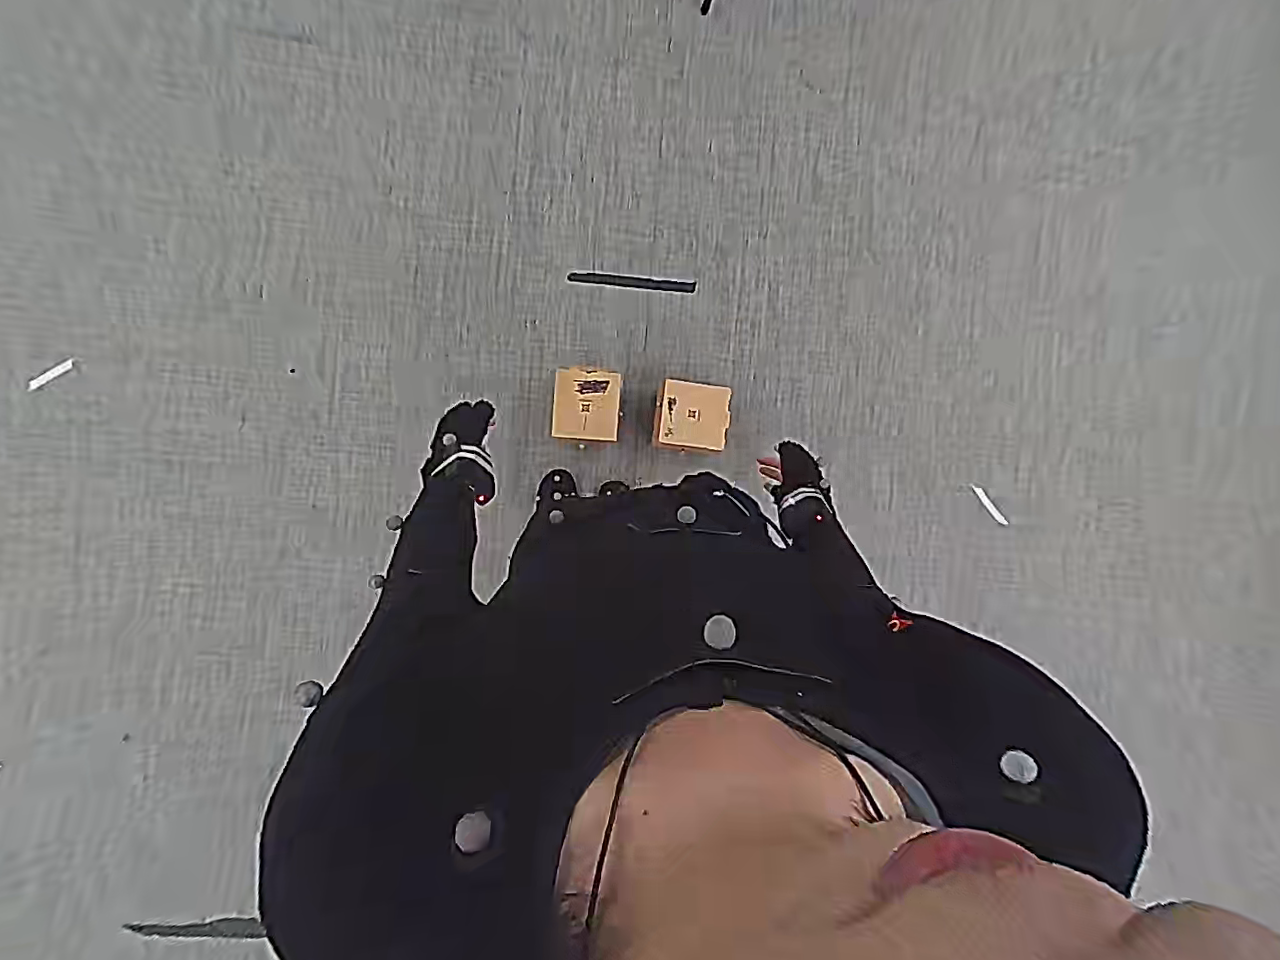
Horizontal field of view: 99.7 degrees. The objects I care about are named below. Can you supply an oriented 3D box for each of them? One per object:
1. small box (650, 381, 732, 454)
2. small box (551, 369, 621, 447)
[{"bbox_3d":[0.132,-0.162,1.464,0.179,0.176,0.168,8,89,-6],"label":"small box"},{"bbox_3d":[-0.142,-0.185,1.437,0.168,0.176,0.179,4,90,-5],"label":"small box"}]
